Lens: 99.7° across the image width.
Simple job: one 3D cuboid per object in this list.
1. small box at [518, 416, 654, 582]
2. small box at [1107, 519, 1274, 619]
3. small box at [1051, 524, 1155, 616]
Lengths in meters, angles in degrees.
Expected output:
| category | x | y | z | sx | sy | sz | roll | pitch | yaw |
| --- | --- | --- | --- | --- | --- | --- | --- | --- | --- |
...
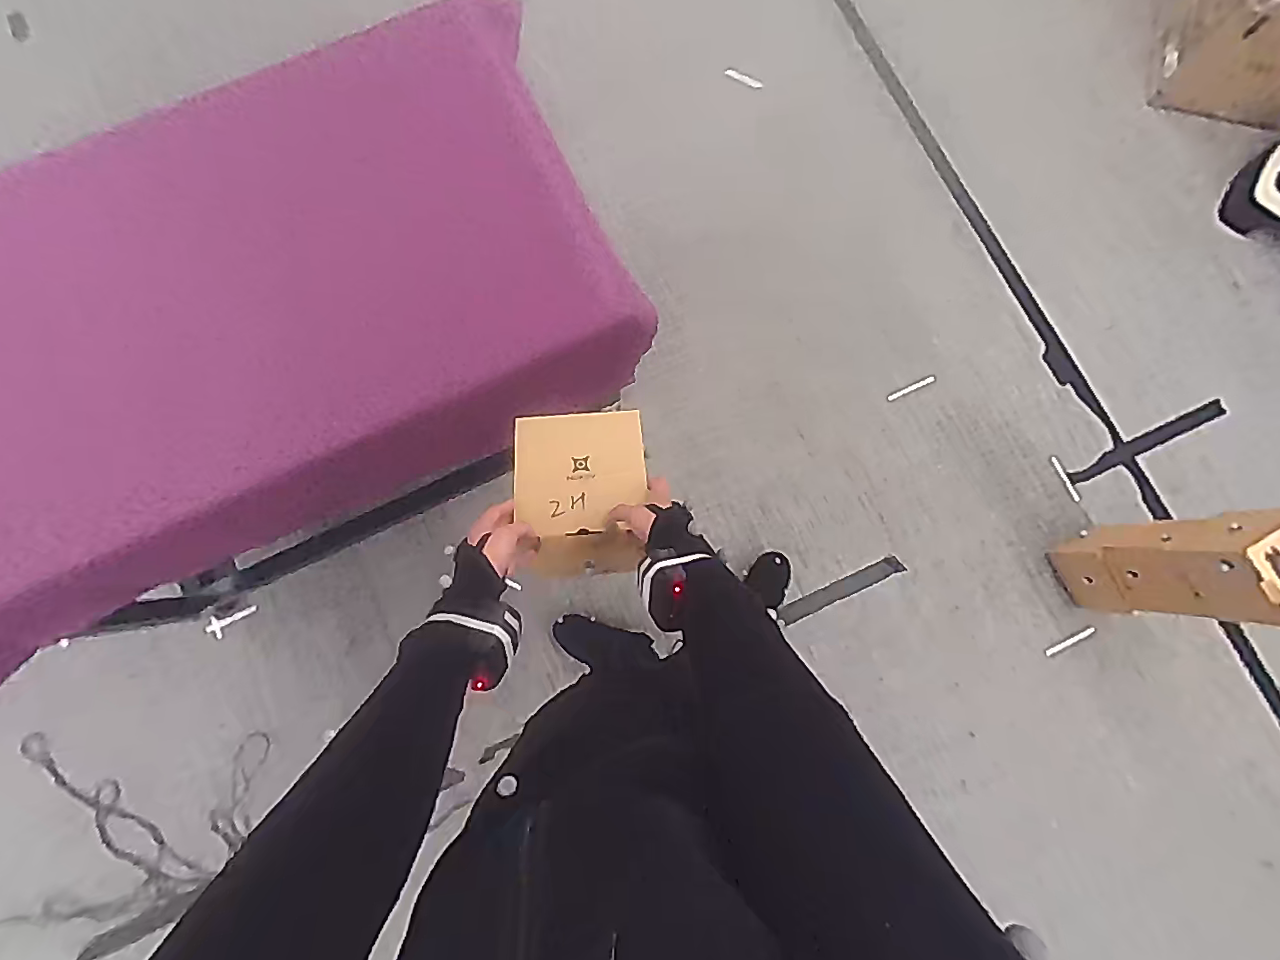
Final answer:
| category | x | y | z | sx | sy | sz | roll | pitch | yaw |
| --- | --- | --- | --- | --- | --- | --- | --- | --- | --- |
| small box | -0.071 | 0.031 | 0.753 | 0.168 | 0.176 | 0.179 | -4 | 64 | -2 |
| small box | 1.240 | 0.197 | 1.233 | 0.179 | 0.176 | 0.168 | -23 | 84 | -3 |
| small box | 1.229 | 0.227 | 1.393 | 0.168 | 0.176 | 0.179 | -27 | 83 | -4 |
